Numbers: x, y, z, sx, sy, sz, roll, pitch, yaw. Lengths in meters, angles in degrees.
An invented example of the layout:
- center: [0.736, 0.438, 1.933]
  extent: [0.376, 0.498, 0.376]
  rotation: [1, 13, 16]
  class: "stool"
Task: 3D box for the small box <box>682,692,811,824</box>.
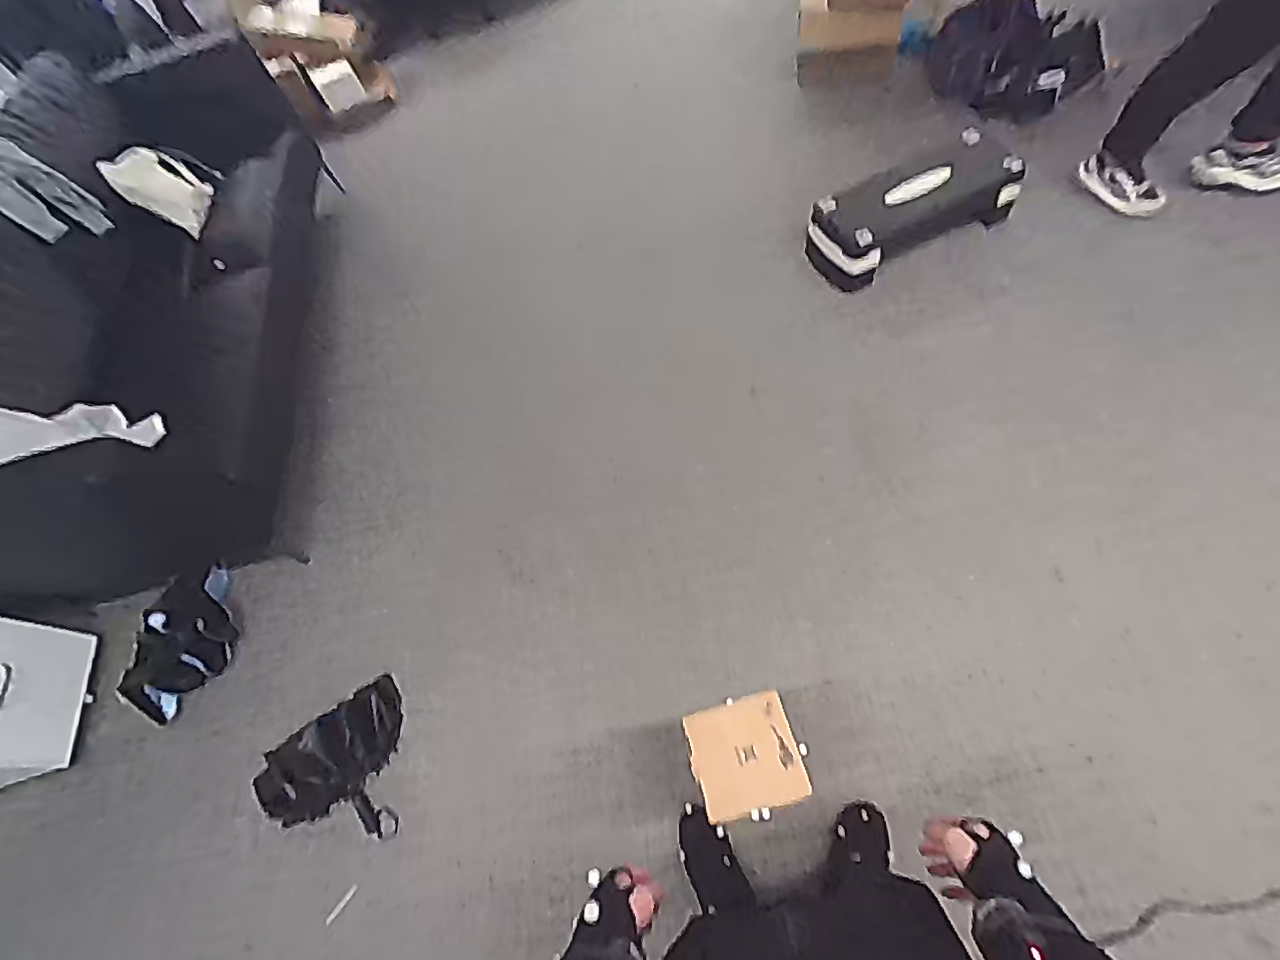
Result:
- center: [0.193, 0.499, 0.973]
  extent: [0.179, 0.176, 0.168]
  rotation: [-19, 60, 4]
  class: "small box"
